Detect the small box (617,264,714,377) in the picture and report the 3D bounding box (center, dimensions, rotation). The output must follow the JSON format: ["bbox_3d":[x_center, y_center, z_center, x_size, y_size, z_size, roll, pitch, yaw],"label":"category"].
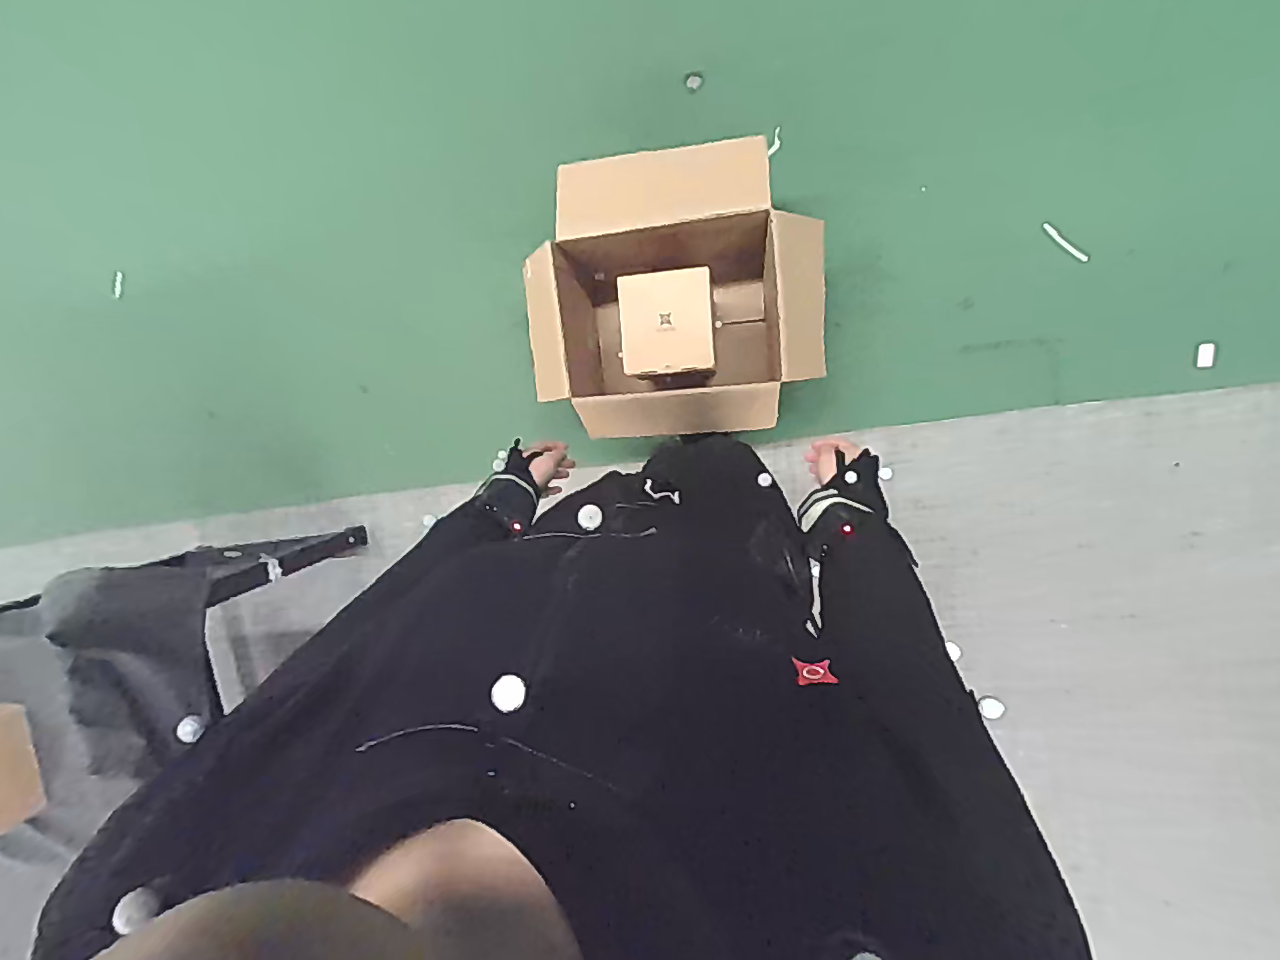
[{"bbox_3d":[0.054,-0.295,1.034,0.168,0.176,0.179,-3,98,9],"label":"small box"}]
